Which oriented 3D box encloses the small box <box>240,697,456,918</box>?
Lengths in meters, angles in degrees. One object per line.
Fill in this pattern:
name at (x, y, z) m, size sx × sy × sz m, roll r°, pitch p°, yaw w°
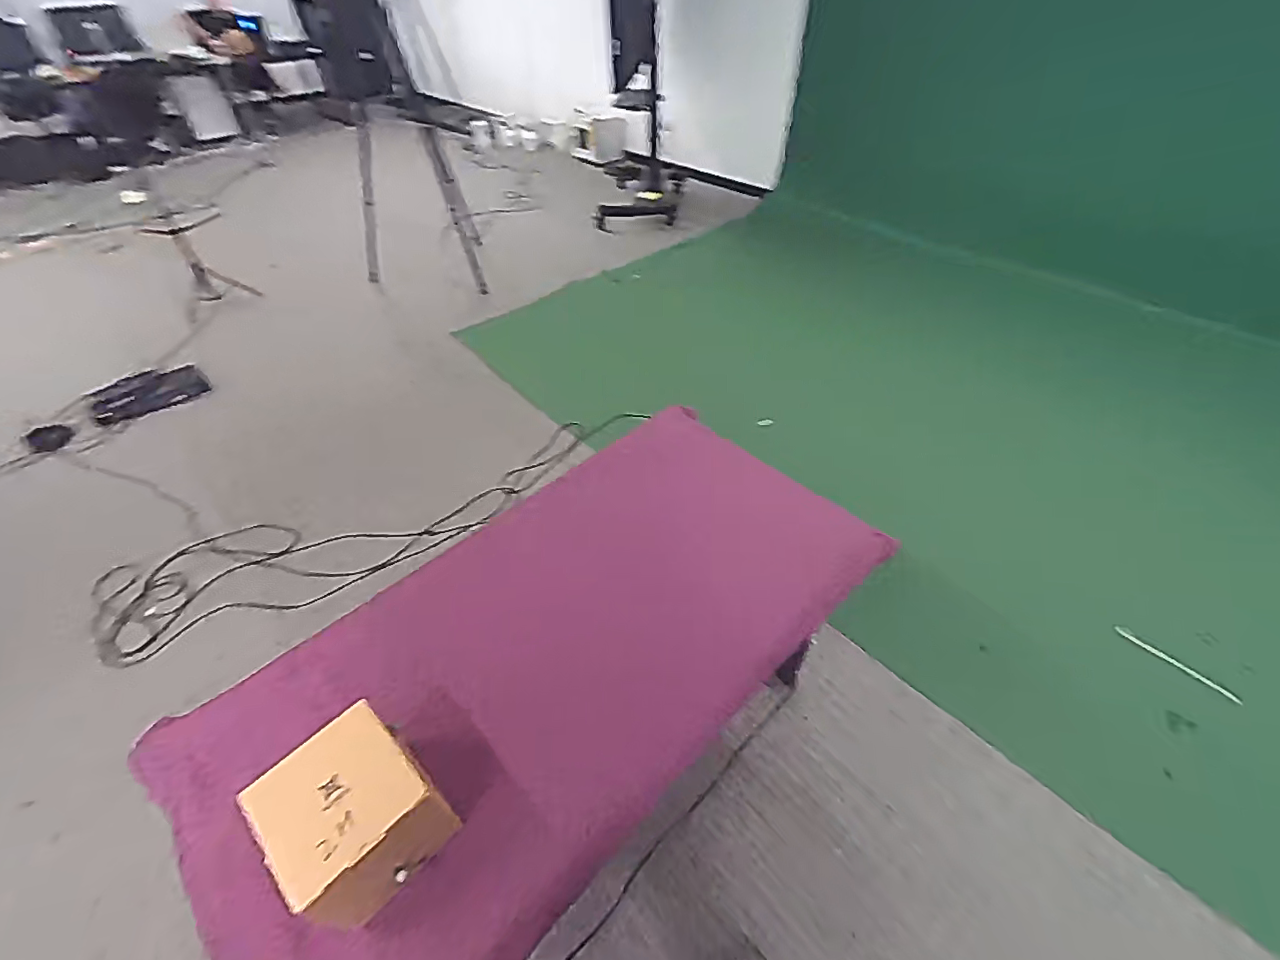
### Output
small box at (-0.378, 0.439, 0.723) m, size 0.179 × 0.176 × 0.168 m, roll 33°, pitch 55°, yaw 29°
